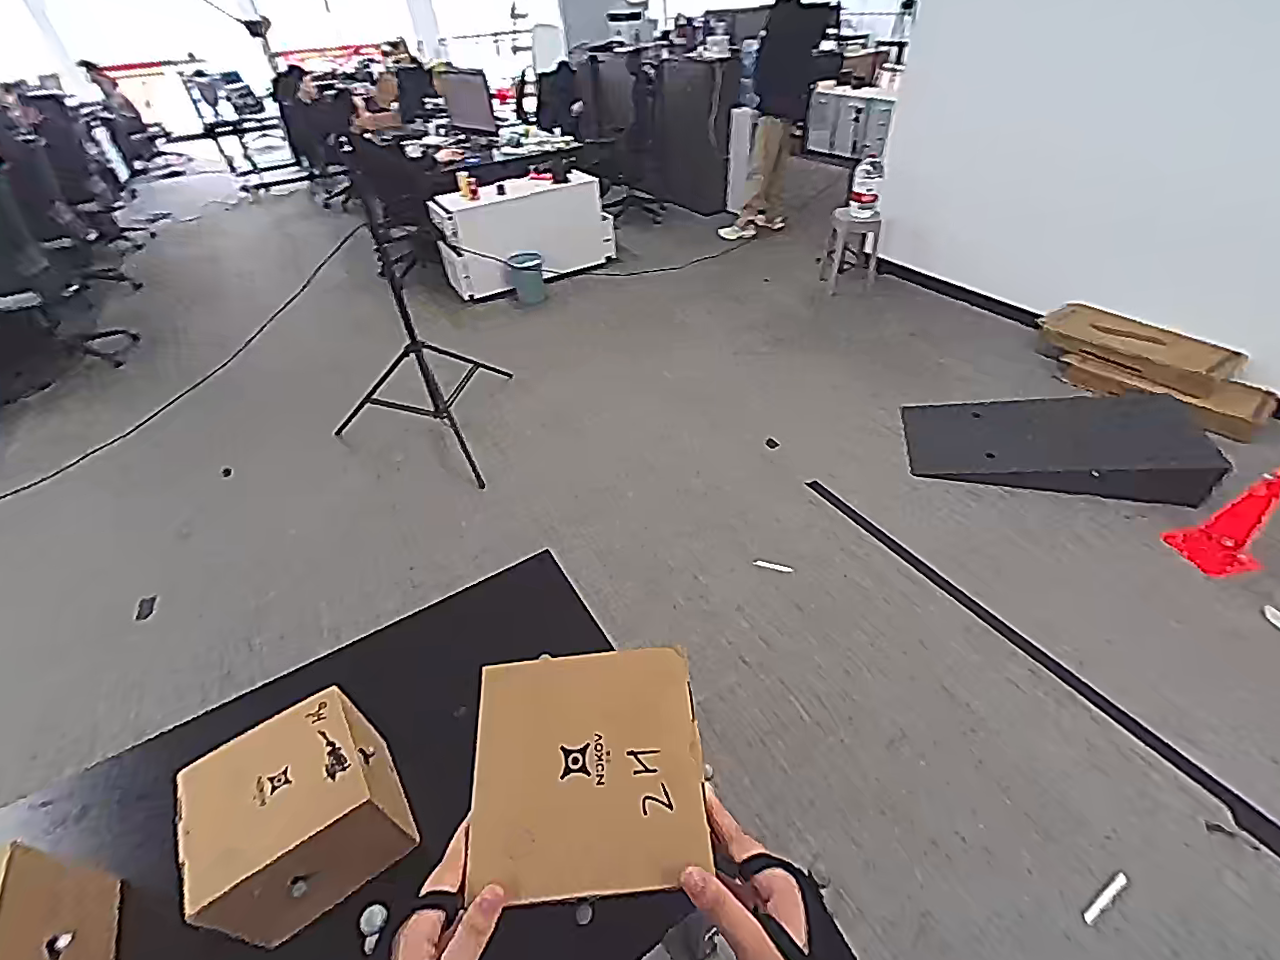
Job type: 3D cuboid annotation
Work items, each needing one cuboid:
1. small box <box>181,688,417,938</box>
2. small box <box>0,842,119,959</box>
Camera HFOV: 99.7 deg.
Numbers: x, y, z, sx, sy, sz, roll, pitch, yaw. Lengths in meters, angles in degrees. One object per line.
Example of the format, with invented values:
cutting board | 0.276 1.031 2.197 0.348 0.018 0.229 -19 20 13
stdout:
small box | -0.402 0.399 0.652 0.179 0.176 0.168 -28 47 -24
small box | -0.674 0.519 0.539 0.168 0.176 0.179 -25 46 -22
